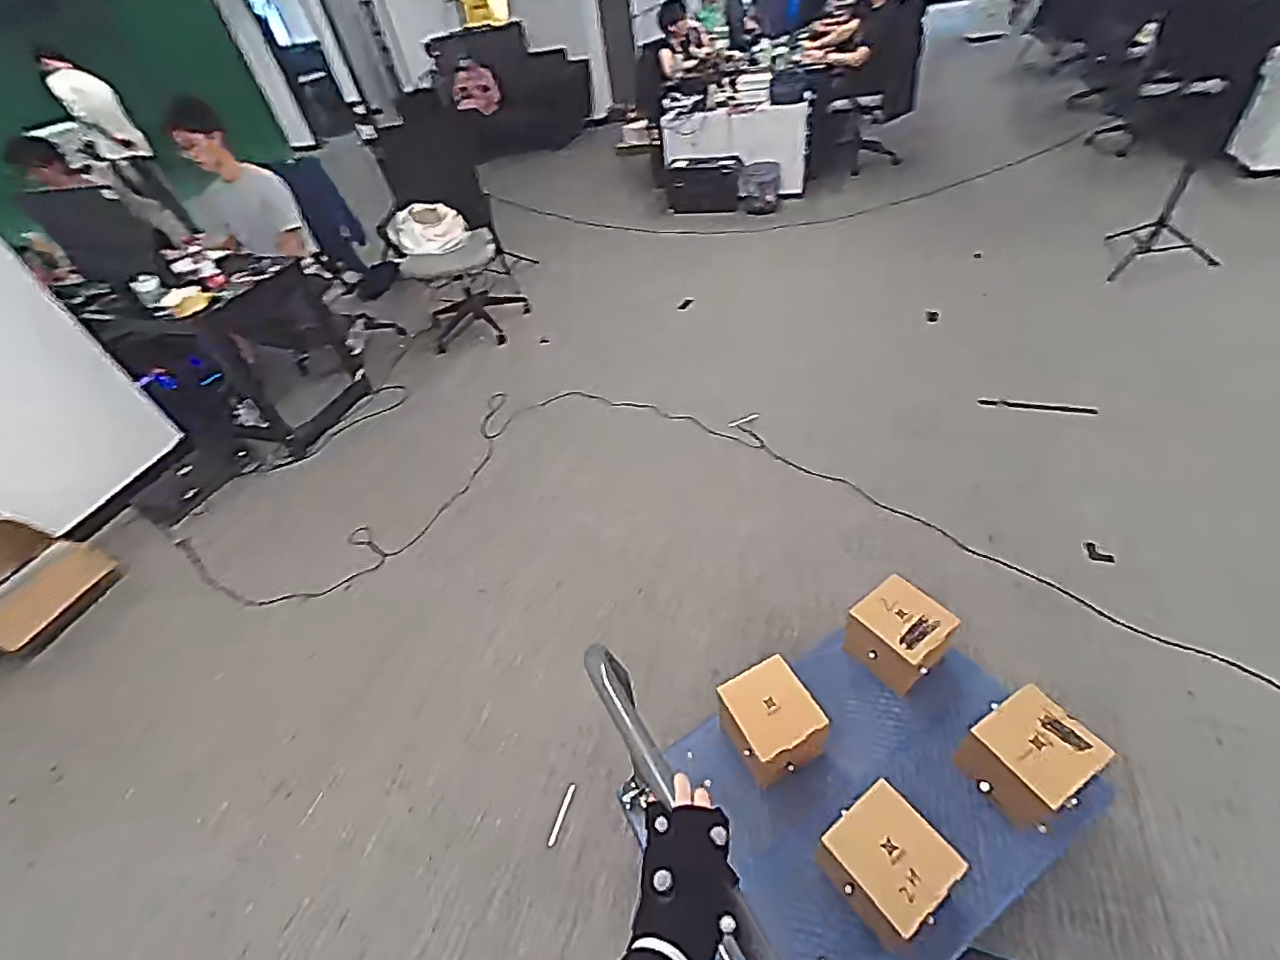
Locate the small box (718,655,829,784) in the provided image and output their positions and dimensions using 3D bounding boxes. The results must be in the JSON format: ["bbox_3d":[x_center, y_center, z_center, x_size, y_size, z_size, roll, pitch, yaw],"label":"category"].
[{"bbox_3d":[0.284,0.527,1.189,0.168,0.176,0.179,-24,47,-13],"label":"small box"}]

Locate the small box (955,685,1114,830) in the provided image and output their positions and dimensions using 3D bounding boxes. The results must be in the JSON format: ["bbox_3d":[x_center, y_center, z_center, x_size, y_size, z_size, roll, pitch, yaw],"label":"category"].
[{"bbox_3d":[0.762,0.547,1.068,0.179,0.176,0.168,-28,46,-14],"label":"small box"}]

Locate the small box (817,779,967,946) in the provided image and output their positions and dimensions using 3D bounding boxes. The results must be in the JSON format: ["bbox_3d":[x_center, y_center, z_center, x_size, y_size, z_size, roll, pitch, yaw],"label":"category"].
[{"bbox_3d":[0.444,0.696,0.984,0.168,0.176,0.179,-31,47,-19],"label":"small box"}]
